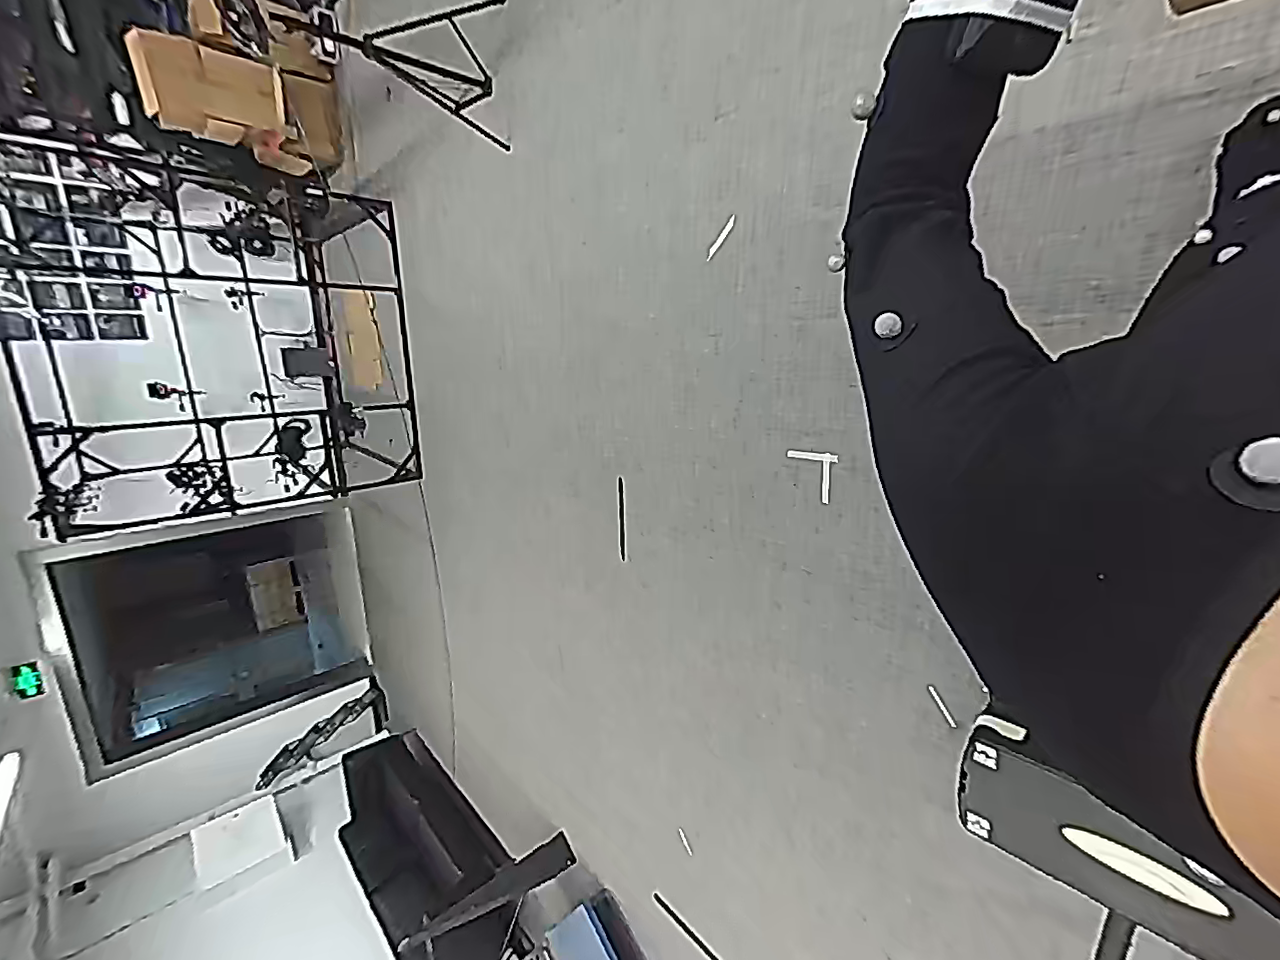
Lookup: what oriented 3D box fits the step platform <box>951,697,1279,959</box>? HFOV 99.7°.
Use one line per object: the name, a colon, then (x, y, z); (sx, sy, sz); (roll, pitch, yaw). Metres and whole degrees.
step platform: (1.064, 0.755, 1.166); (0.684, 0.204, 0.286); (12, 108, 48)
